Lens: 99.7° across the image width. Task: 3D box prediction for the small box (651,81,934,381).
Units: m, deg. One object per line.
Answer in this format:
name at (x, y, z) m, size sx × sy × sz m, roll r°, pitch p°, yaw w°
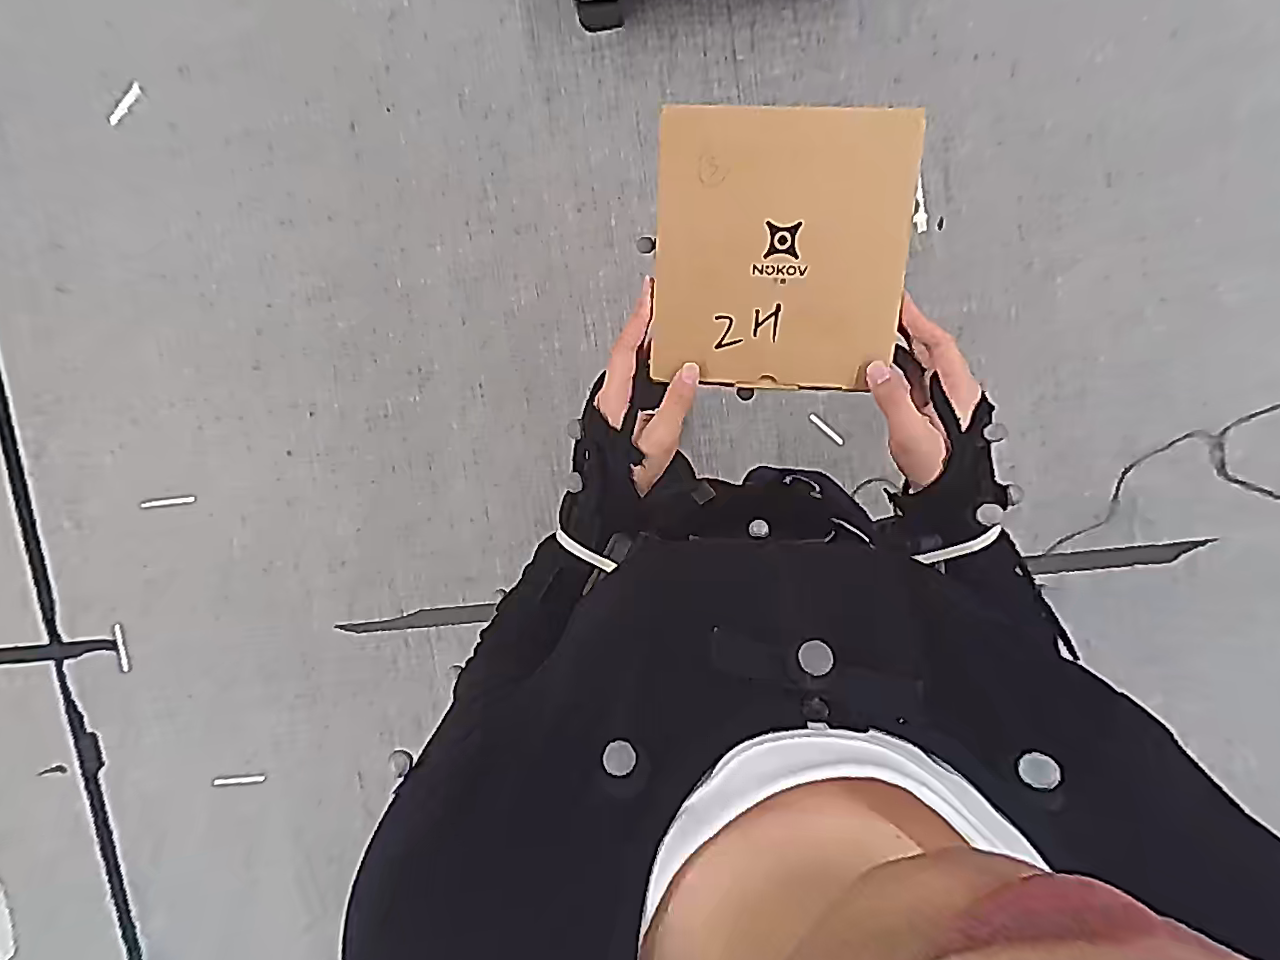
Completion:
small box at (0.099, -0.174, 0.428) m, size 0.168 × 0.176 × 0.179 m, roll 4°, pitch 103°, yaw 4°
